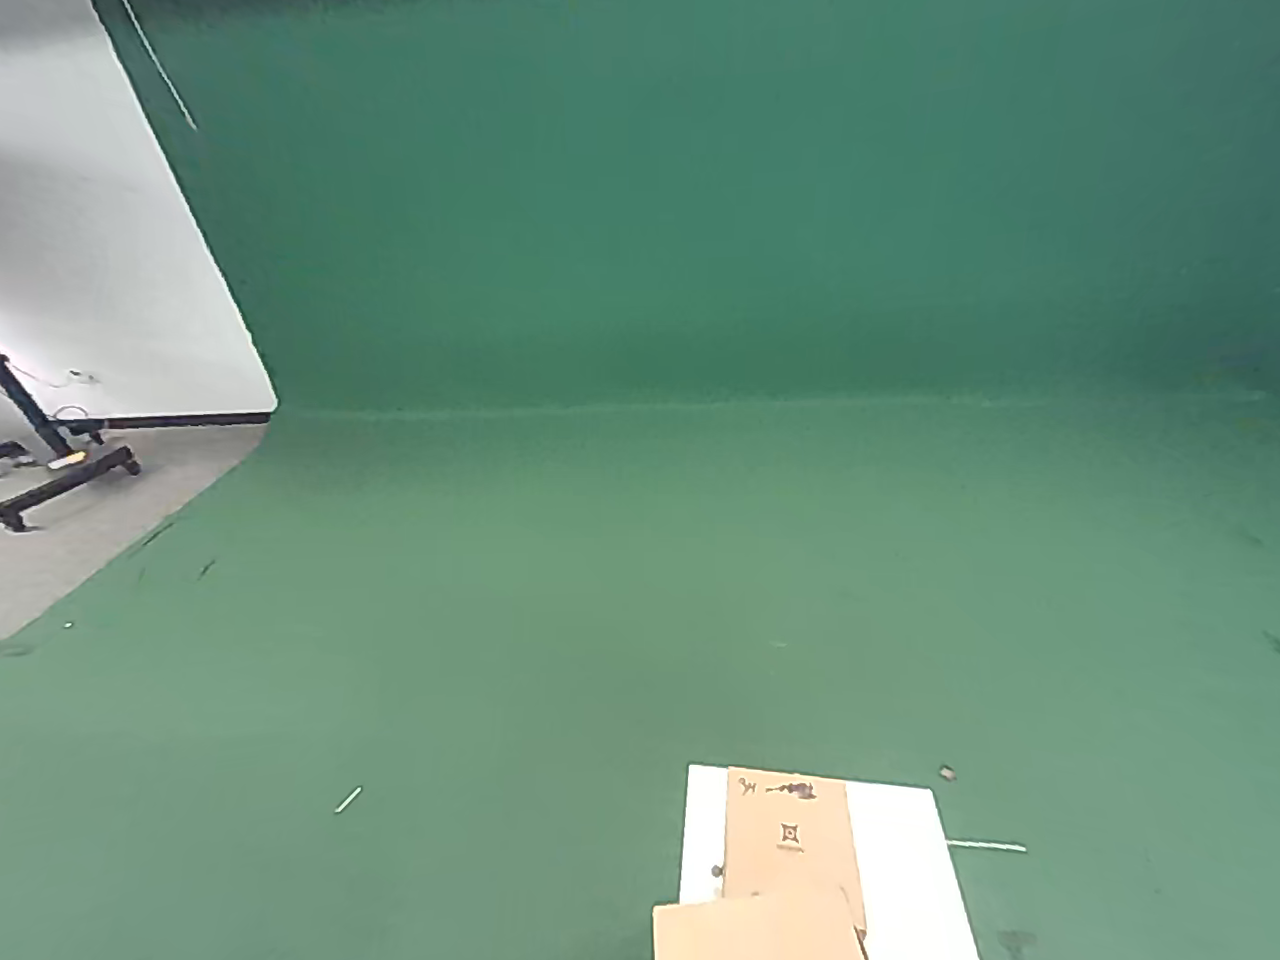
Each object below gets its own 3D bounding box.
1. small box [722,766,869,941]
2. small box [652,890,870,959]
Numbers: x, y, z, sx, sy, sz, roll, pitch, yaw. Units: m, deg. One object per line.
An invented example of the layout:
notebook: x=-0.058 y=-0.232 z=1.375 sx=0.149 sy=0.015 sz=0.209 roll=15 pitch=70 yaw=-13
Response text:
small box: x=0.198 y=0.524 z=0.728 sx=0.168 sy=0.176 sz=0.179 roll=2 pitch=35 yaw=10
small box: x=0.111 y=0.477 z=0.440 sx=0.179 sy=0.176 sz=0.168 roll=-9 pitch=28 yaw=3
